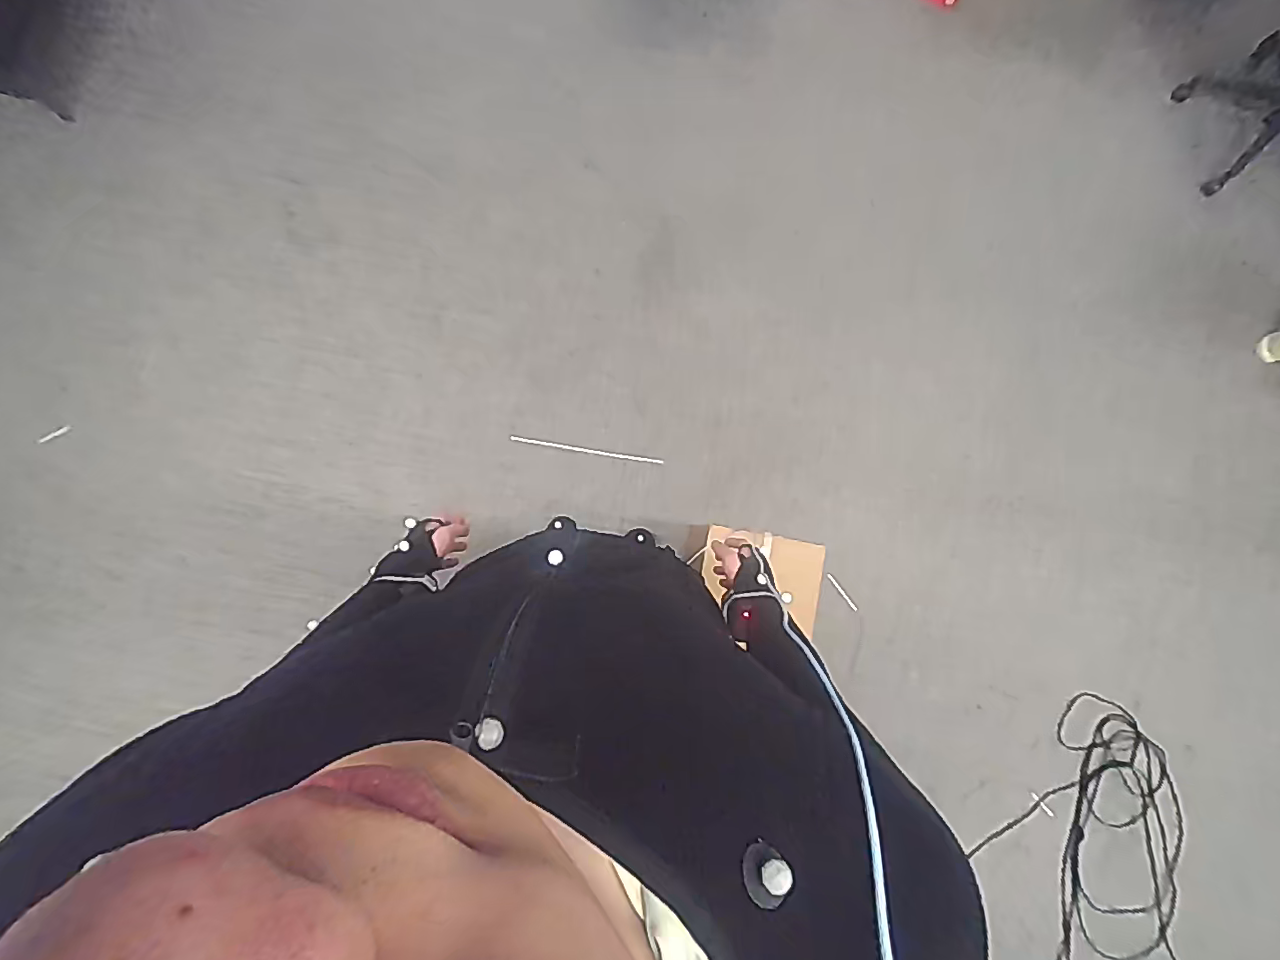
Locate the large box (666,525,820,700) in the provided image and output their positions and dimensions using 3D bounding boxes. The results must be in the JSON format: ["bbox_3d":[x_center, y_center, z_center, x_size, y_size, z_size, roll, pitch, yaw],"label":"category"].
[{"bbox_3d":[0.273,0.346,1.522,0.320,0.320,0.408,11,85,-4],"label":"large box"}]
